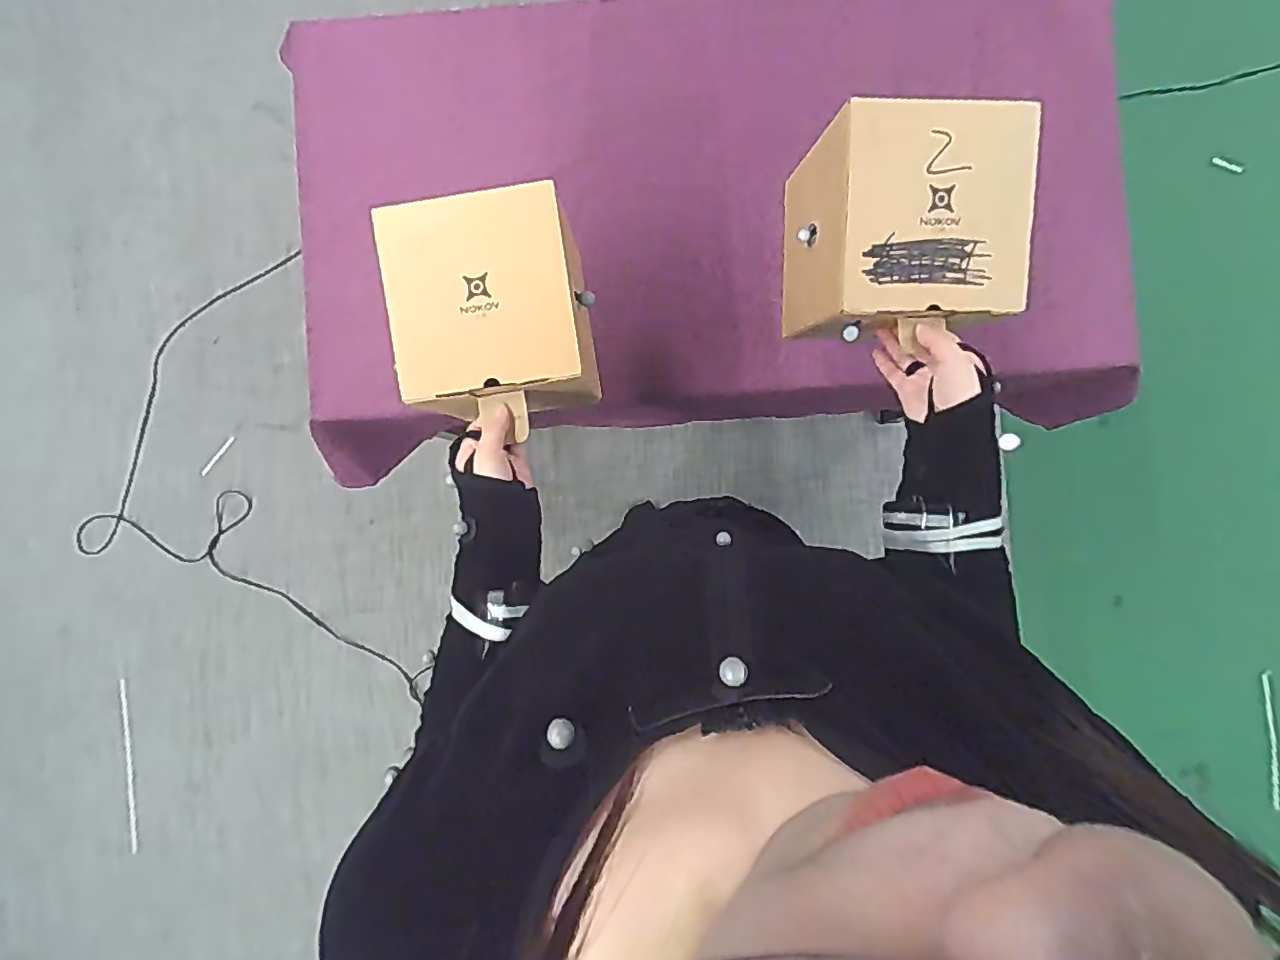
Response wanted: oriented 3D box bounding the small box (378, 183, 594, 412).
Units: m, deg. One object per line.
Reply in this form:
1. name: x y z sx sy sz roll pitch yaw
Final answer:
1. small box: -0.146 -0.175 0.572 0.168 0.176 0.179 -8 92 1
